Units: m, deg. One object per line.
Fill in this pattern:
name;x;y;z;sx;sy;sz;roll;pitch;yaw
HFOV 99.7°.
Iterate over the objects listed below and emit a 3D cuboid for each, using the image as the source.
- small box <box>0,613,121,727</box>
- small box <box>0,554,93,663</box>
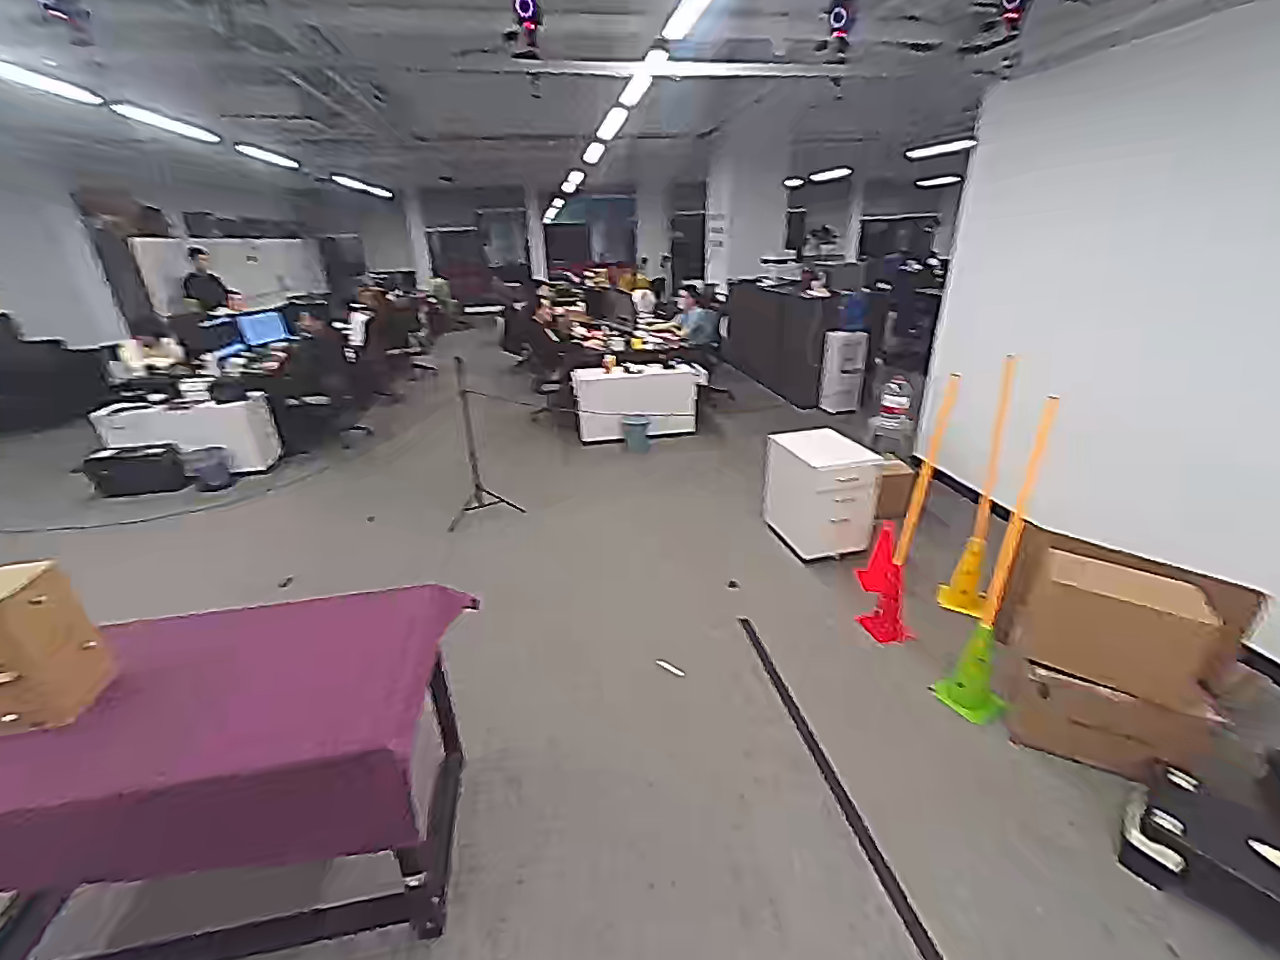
small box;-1.370;0.438;1.255;0.168;0.176;0.179;-6;25;-8
small box;-1.376;0.288;1.188;0.168;0.176;0.179;-7;24;-12
